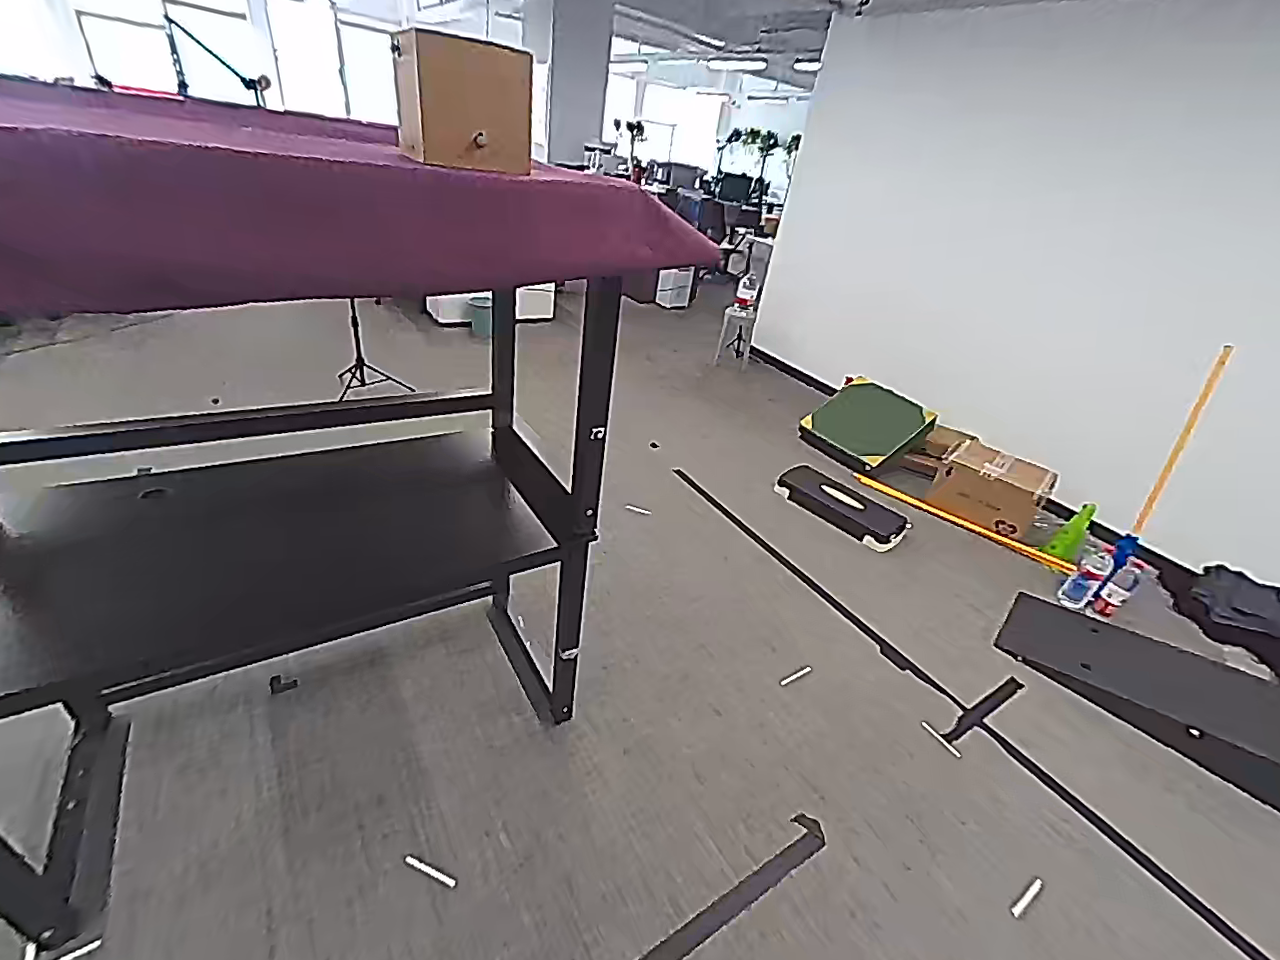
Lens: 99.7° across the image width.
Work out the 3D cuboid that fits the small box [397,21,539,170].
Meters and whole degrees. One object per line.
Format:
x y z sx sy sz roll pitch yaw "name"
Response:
-0.279 -0.608 0.873 0.179 0.176 0.168 -12 37 -31 "small box"
